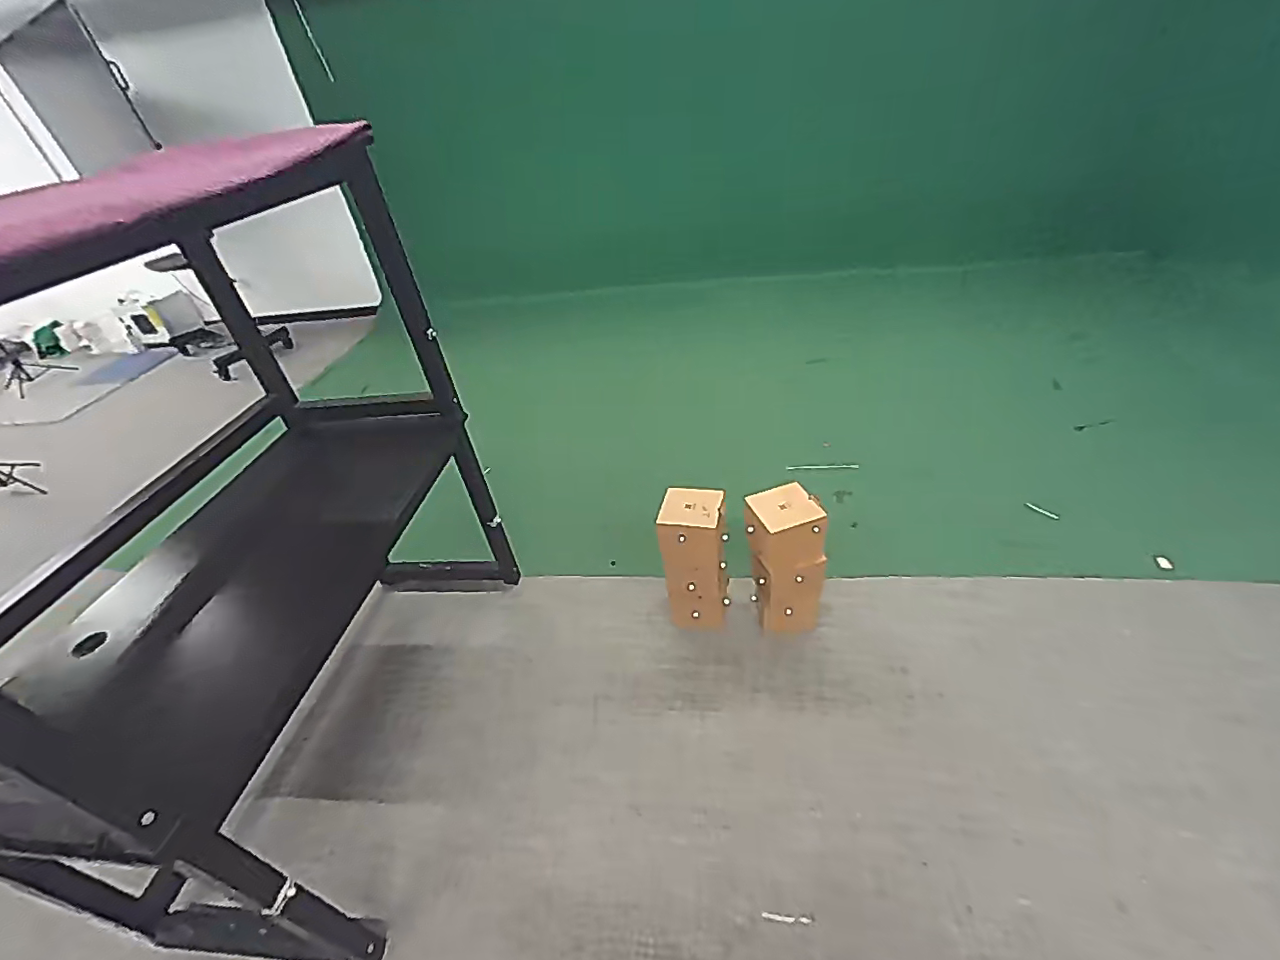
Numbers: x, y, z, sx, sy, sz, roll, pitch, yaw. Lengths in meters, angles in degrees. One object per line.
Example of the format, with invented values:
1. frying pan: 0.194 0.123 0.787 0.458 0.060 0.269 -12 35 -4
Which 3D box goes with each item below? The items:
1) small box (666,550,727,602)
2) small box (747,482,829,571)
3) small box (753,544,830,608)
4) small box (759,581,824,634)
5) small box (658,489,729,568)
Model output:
1. small box: 0.186 0.267 1.717 0.168 0.176 0.179 2 39 15
2. small box: 0.424 0.139 1.568 0.179 0.176 0.168 -16 39 -10
3. small box: 0.460 0.268 1.663 0.179 0.176 0.168 -13 40 -7
4. small box: 0.489 0.387 1.769 0.179 0.176 0.168 -6 38 3
5. small box: 0.164 0.144 1.606 0.179 0.176 0.168 4 40 17
